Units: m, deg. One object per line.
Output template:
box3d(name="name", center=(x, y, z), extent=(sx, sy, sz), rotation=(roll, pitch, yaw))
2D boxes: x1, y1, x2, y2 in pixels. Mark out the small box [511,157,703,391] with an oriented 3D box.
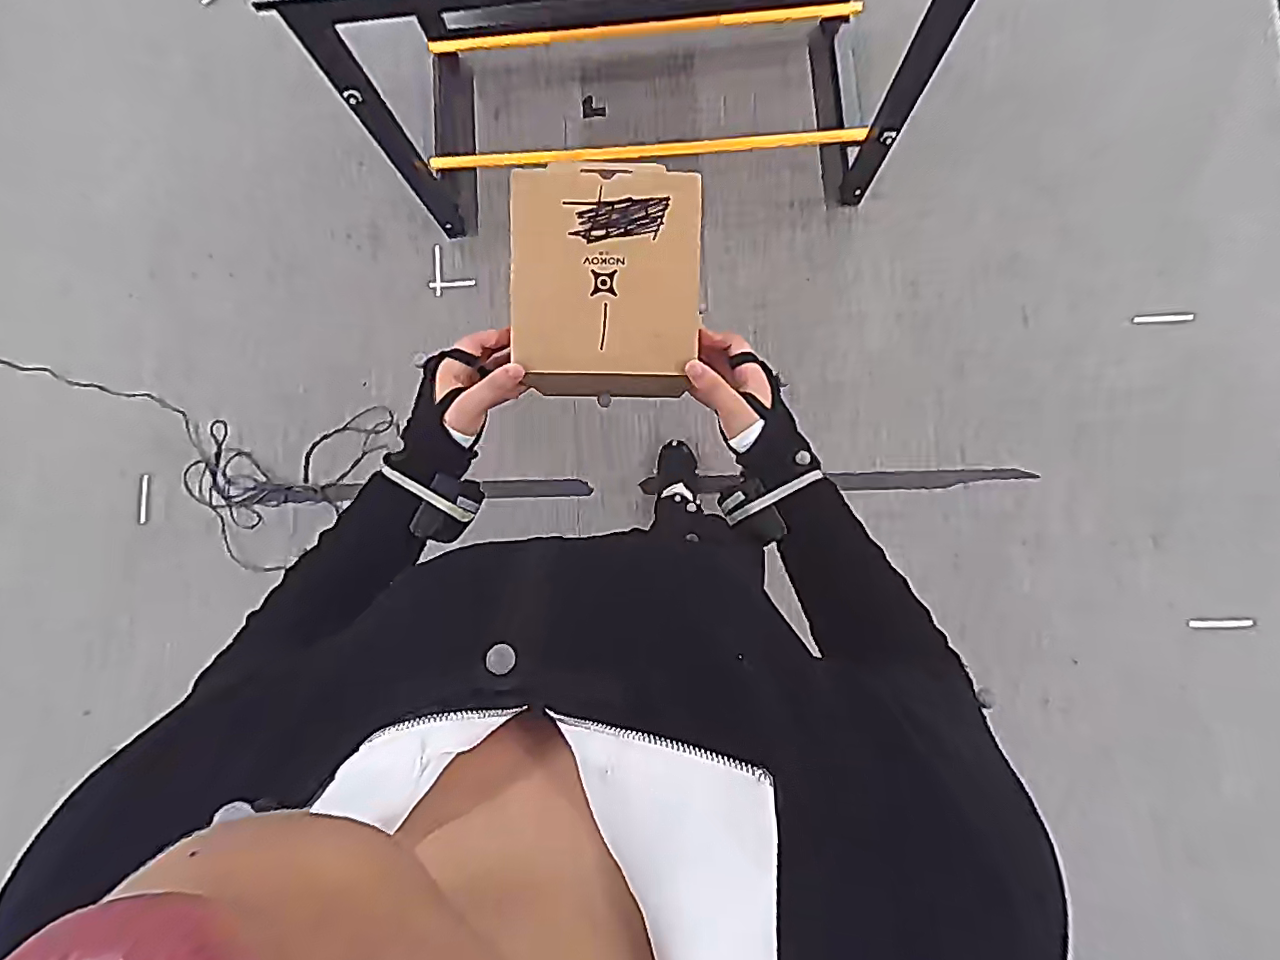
box3d(name="small box", center=(-0.030, -0.190, 0.544), extent=(0.168, 0.176, 0.179), rotation=(0, 92, 0))
